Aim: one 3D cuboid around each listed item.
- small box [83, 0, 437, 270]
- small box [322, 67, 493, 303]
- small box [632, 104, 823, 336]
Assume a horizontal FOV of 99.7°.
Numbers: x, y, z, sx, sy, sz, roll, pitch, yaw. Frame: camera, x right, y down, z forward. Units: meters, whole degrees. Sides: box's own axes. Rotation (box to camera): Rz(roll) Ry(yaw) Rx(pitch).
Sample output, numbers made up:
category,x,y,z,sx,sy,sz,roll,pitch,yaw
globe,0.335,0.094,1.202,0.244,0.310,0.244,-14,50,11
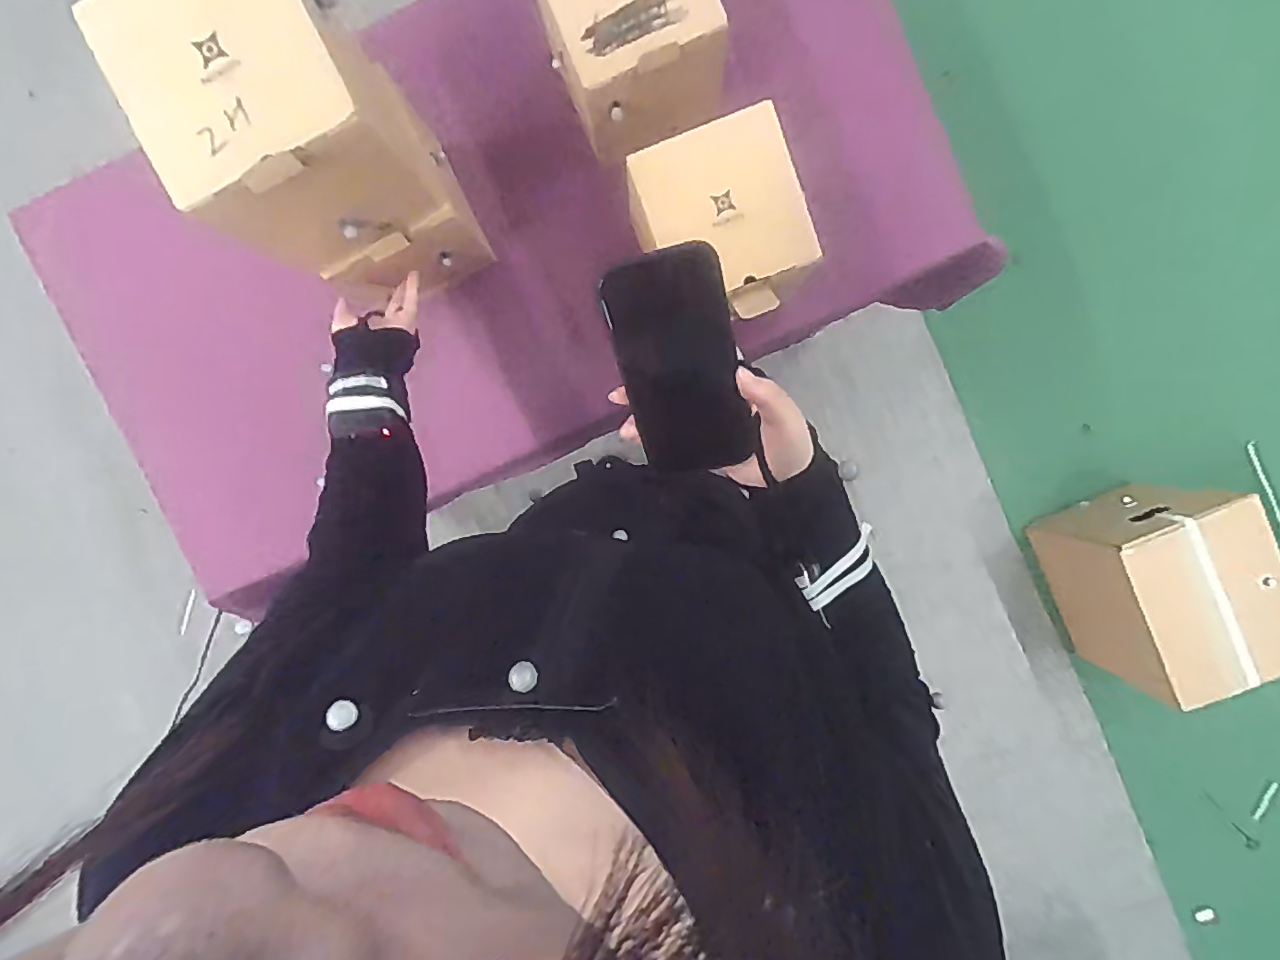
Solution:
category,x,y,z,sx,sy,sz,roll,pitch,yaw
small box,-0.323,-0.329,0.501,0.168,0.176,0.179,-25,93,3
small box,-0.305,-0.337,0.665,0.168,0.176,0.179,-25,93,3
small box,0.094,-0.295,0.655,0.168,0.176,0.179,-19,94,3
